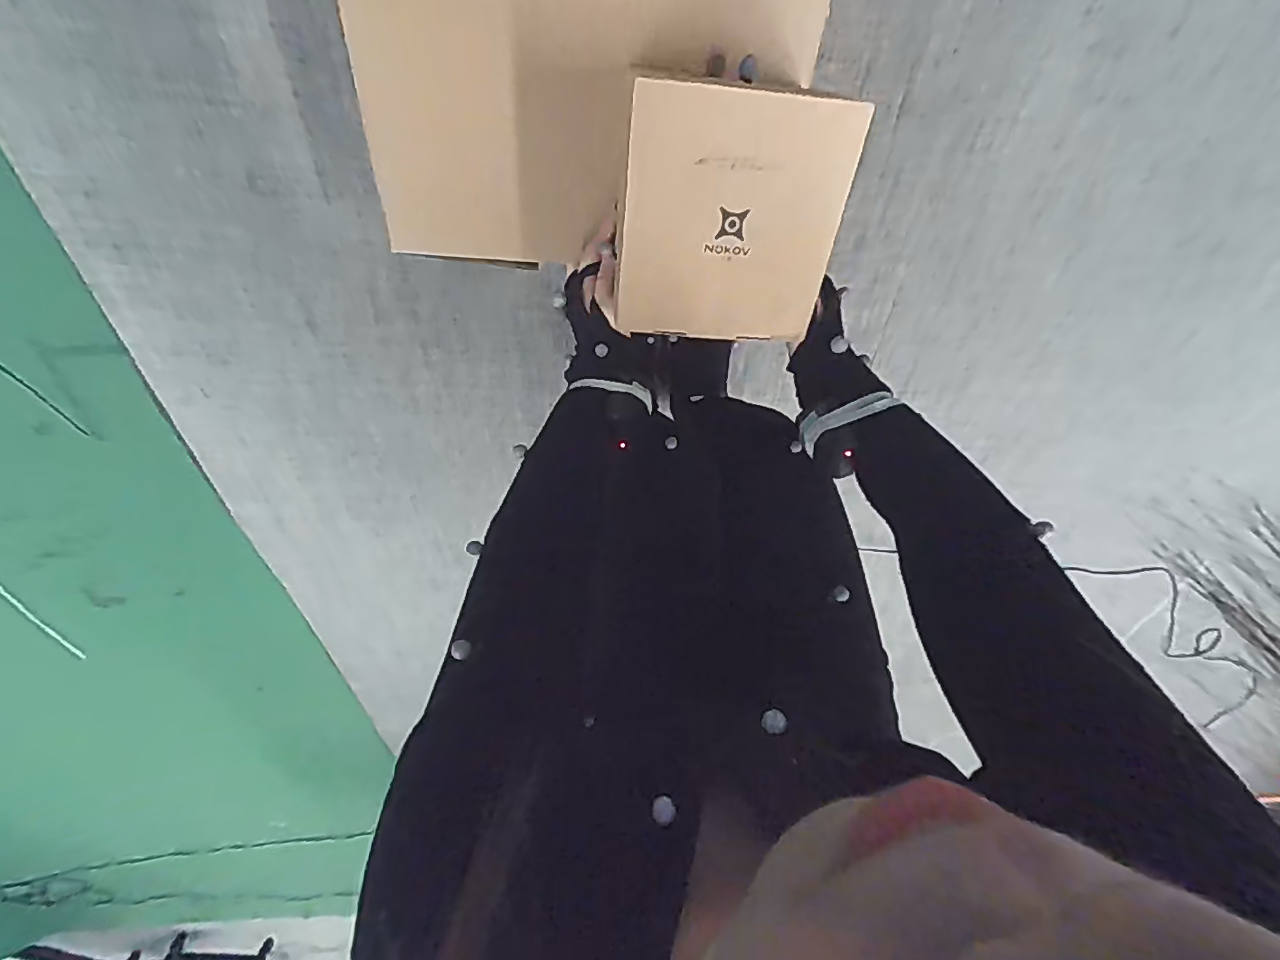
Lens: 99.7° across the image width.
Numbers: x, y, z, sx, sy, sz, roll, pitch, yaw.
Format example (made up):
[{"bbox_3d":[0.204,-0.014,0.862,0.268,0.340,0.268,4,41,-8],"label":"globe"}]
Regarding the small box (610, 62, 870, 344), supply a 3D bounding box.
[{"bbox_3d":[0.063,-0.240,0.468,0.168,0.176,0.179,3,129,-6],"label":"small box"}]
